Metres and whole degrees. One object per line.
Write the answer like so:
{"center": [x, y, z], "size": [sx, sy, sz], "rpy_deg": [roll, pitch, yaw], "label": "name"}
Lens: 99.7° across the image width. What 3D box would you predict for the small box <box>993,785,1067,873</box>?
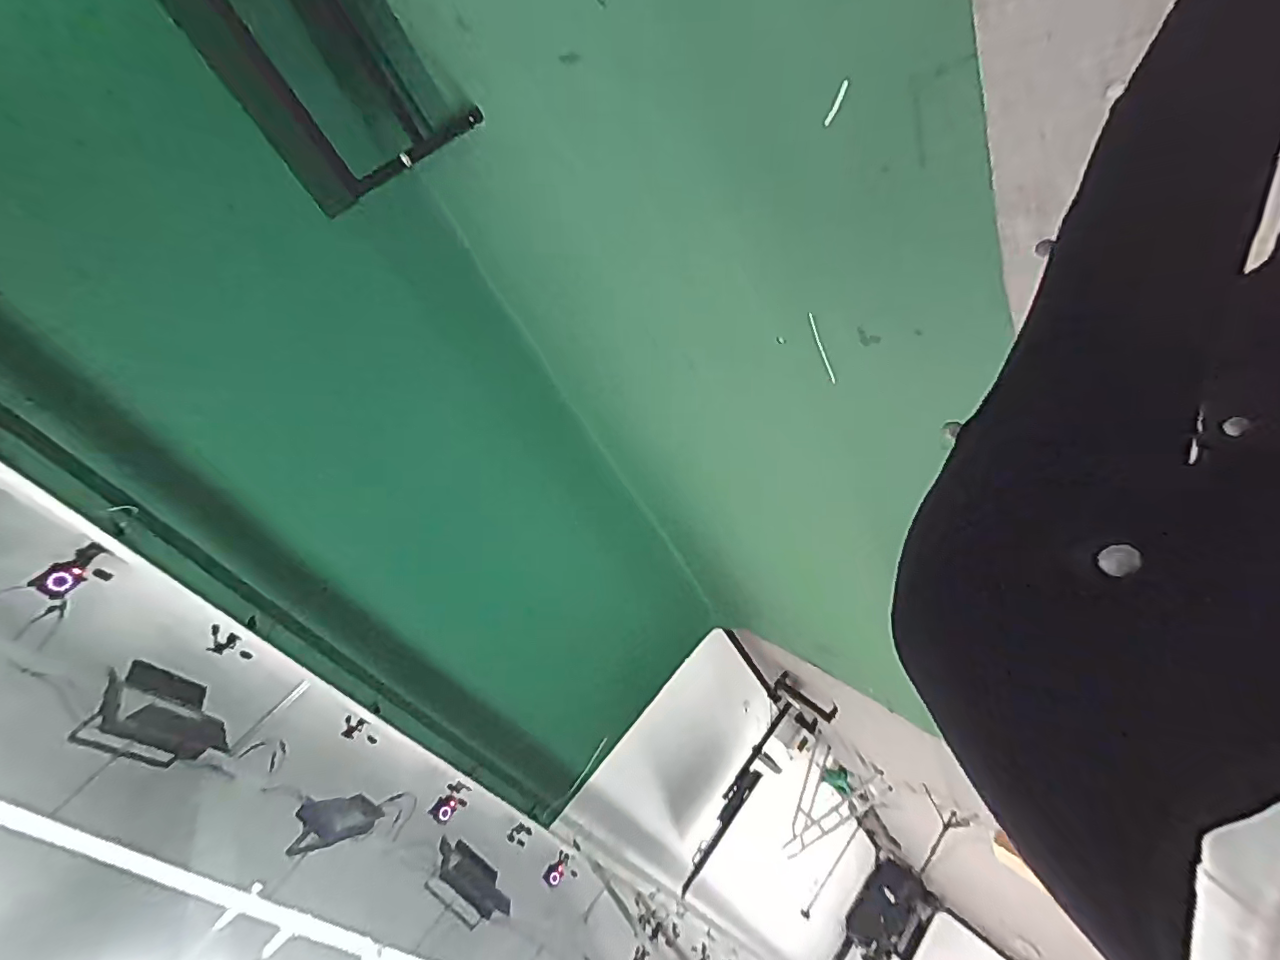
{"center": [1.375, 1.221, 1.899], "size": [0.168, 0.176, 0.179], "rpy_deg": [17, 148, 50], "label": "small box"}
